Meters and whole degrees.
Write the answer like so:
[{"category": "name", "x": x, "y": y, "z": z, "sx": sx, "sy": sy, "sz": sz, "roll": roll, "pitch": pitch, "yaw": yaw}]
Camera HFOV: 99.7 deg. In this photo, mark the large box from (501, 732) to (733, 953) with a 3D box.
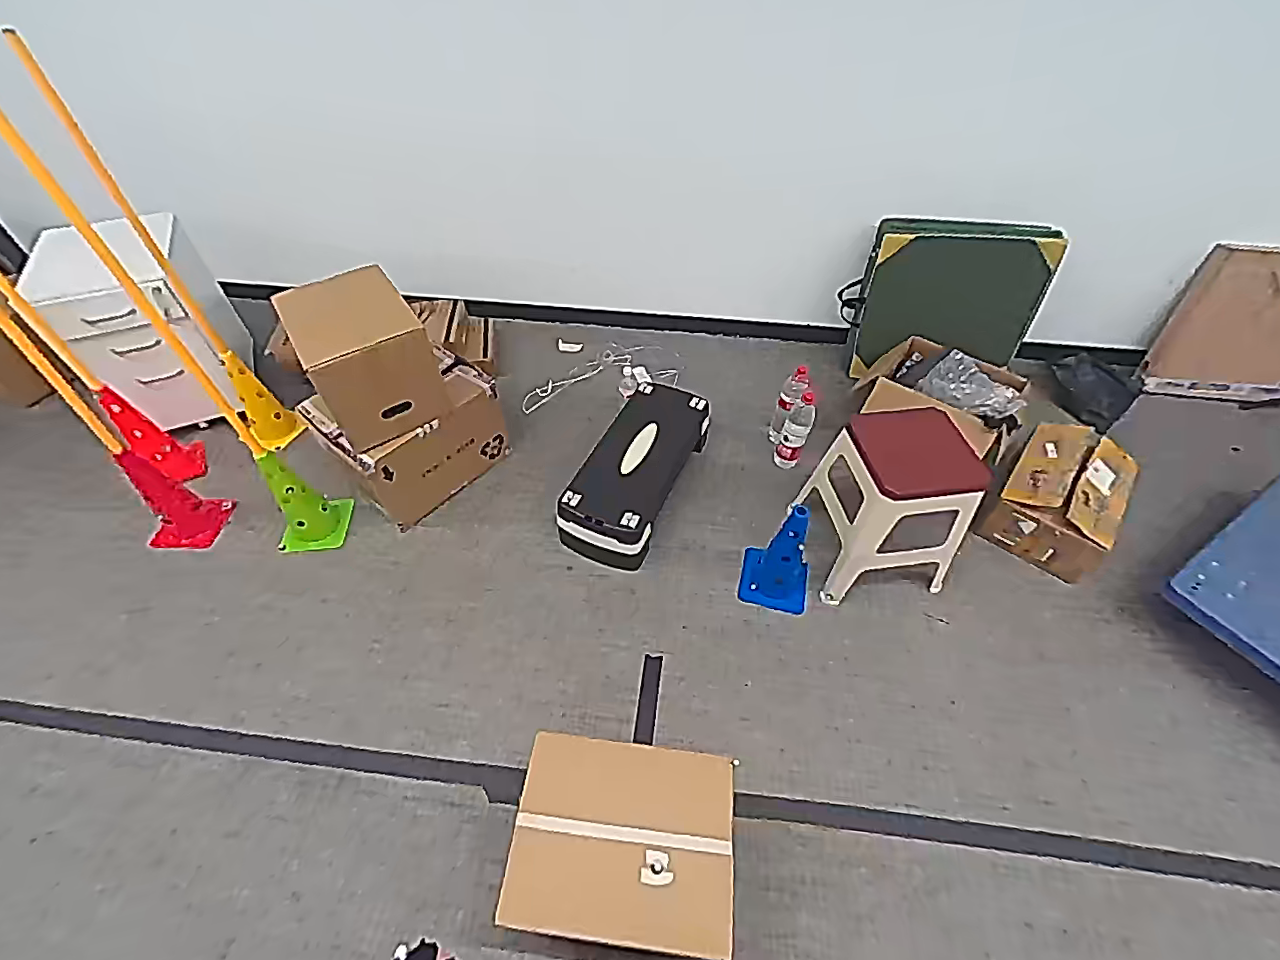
[{"category": "large box", "x": -0.034, "y": 0.749, "z": 1.118, "sx": 0.408, "sy": 0.320, "sz": 0.320, "roll": 6, "pitch": 50, "yaw": 3}]
